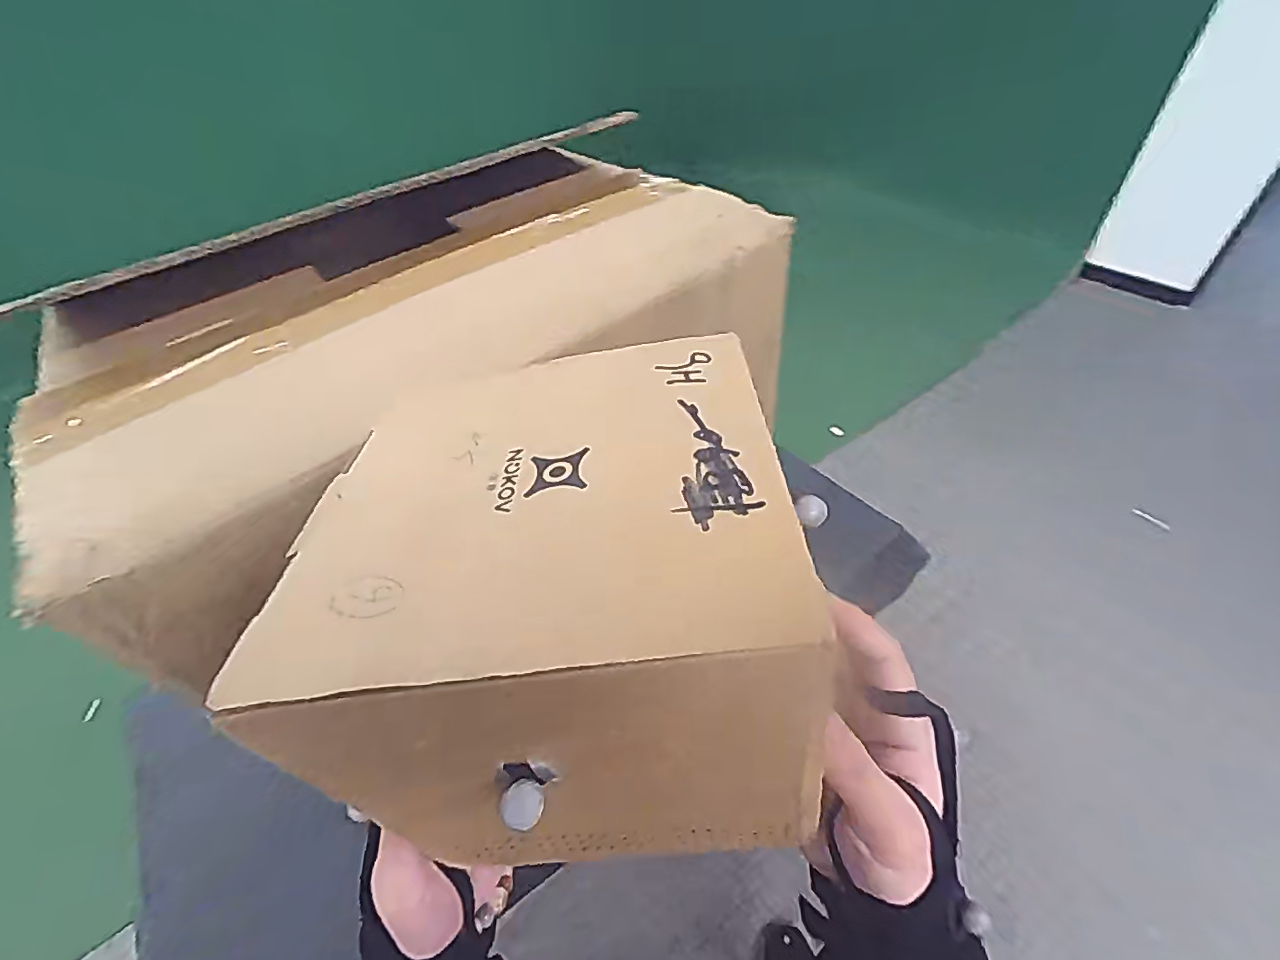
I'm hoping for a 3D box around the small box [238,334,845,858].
[{"bbox_3d":[-0.016,0.059,0.254,0.179,0.176,0.168,-9,43,7],"label":"small box"}]
